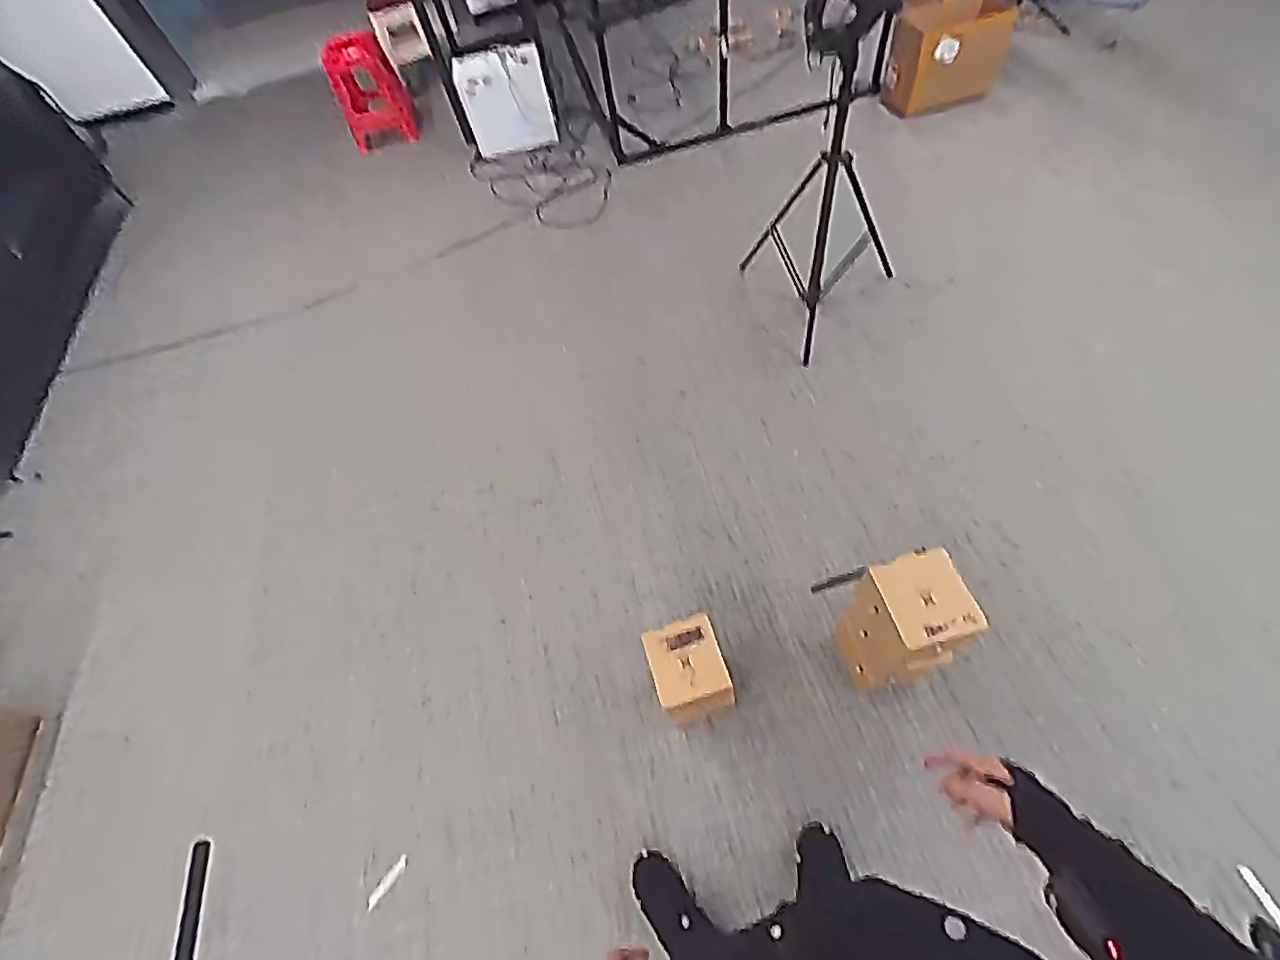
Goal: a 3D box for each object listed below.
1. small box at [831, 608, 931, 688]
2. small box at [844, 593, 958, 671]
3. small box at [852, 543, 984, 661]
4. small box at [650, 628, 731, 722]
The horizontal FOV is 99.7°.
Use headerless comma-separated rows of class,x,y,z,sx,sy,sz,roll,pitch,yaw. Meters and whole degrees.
small box,0.620,0.427,1.418,0.168,0.176,0.179,-14,59,0
small box,0.605,0.342,1.279,0.168,0.176,0.179,-14,58,0
small box,0.569,0.261,1.139,0.168,0.176,0.179,-15,58,0
small box,0.135,0.523,1.439,0.168,0.176,0.179,-18,58,-1
